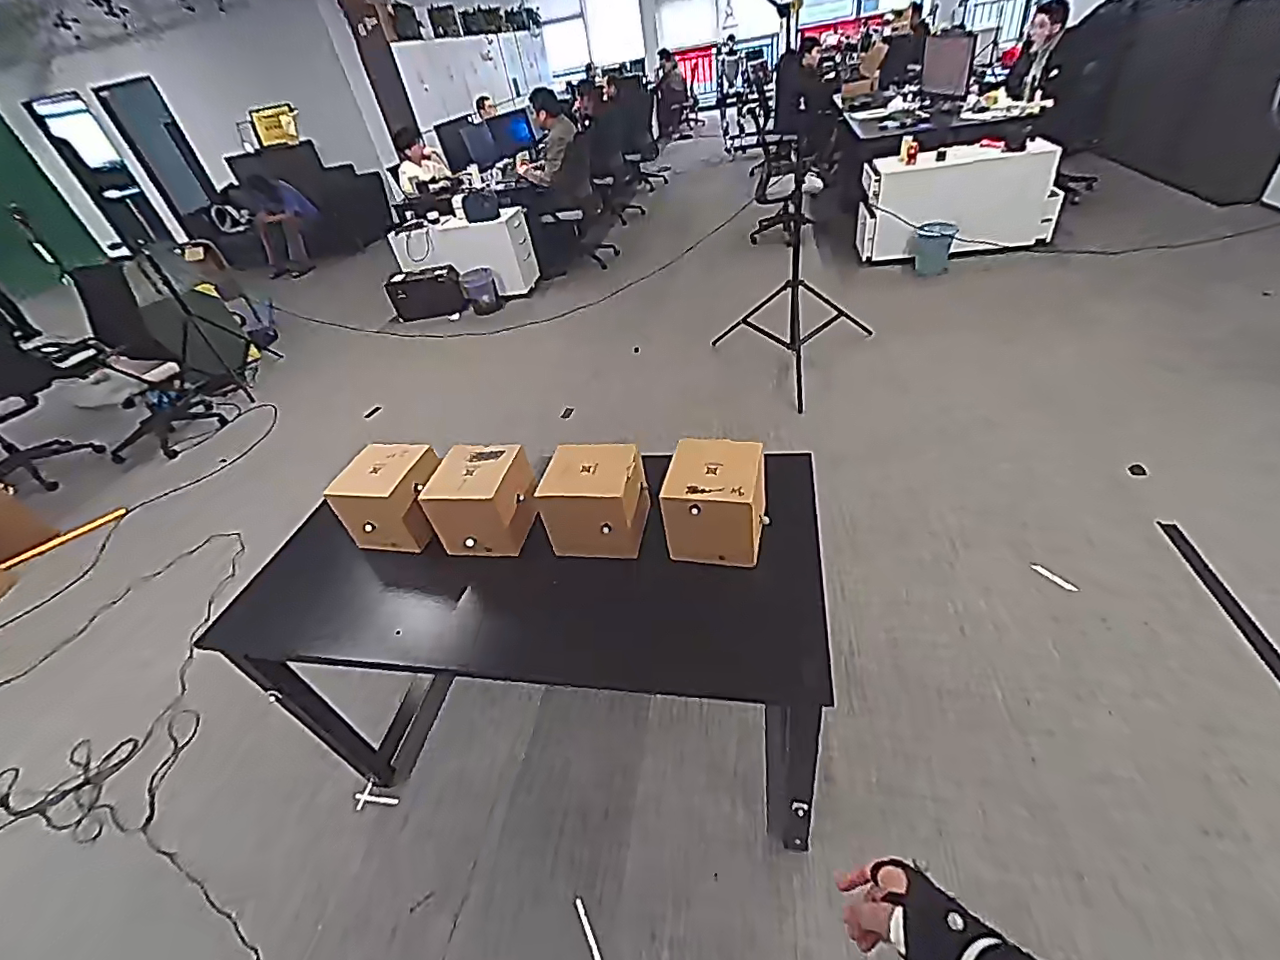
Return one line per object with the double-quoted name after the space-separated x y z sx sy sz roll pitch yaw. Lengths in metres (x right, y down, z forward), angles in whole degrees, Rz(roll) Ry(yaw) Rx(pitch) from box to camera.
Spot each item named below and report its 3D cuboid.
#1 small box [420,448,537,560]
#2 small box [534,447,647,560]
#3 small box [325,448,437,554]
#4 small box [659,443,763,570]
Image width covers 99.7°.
-0.332 0.050 1.157 0.168 0.176 0.179 -1 41 12 "small box"
-0.089 0.049 1.101 0.179 0.176 0.168 -1 39 14 "small box"
-0.548 0.047 1.214 0.168 0.176 0.179 2 40 15 "small box"
0.145 0.047 1.042 0.168 0.176 0.179 3 40 18 "small box"
